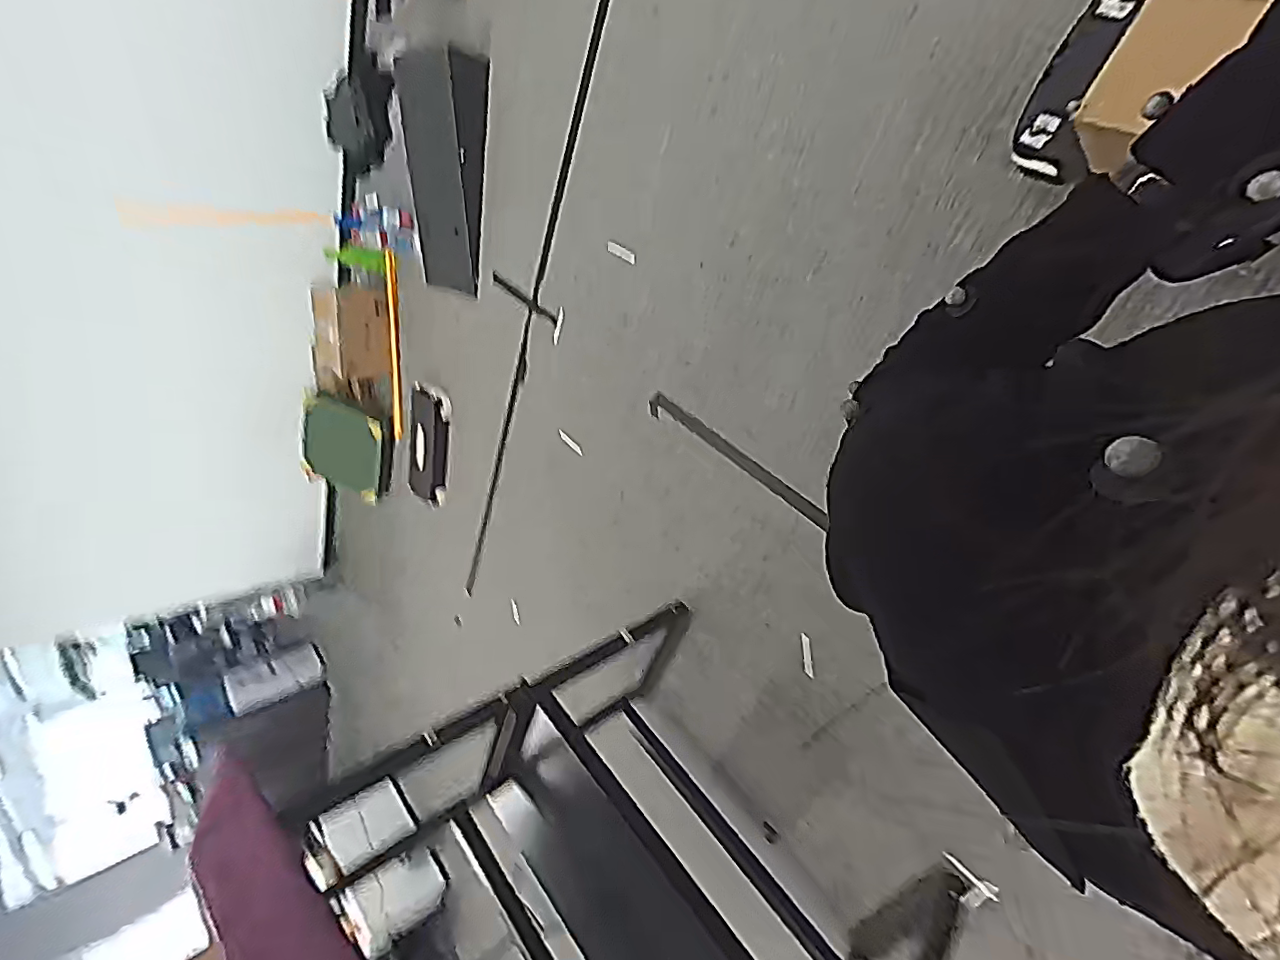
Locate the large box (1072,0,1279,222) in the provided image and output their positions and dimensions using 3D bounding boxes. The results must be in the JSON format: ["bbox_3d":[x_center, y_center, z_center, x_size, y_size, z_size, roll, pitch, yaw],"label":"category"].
[{"bbox_3d":[0.884,-0.532,0.686,0.408,0.320,0.320,42,124,30],"label":"large box"}]

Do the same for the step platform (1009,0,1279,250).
[{"bbox_3d":[1.004,-0.587,0.892,0.684,0.204,0.286,47,127,26],"label":"step platform"}]
